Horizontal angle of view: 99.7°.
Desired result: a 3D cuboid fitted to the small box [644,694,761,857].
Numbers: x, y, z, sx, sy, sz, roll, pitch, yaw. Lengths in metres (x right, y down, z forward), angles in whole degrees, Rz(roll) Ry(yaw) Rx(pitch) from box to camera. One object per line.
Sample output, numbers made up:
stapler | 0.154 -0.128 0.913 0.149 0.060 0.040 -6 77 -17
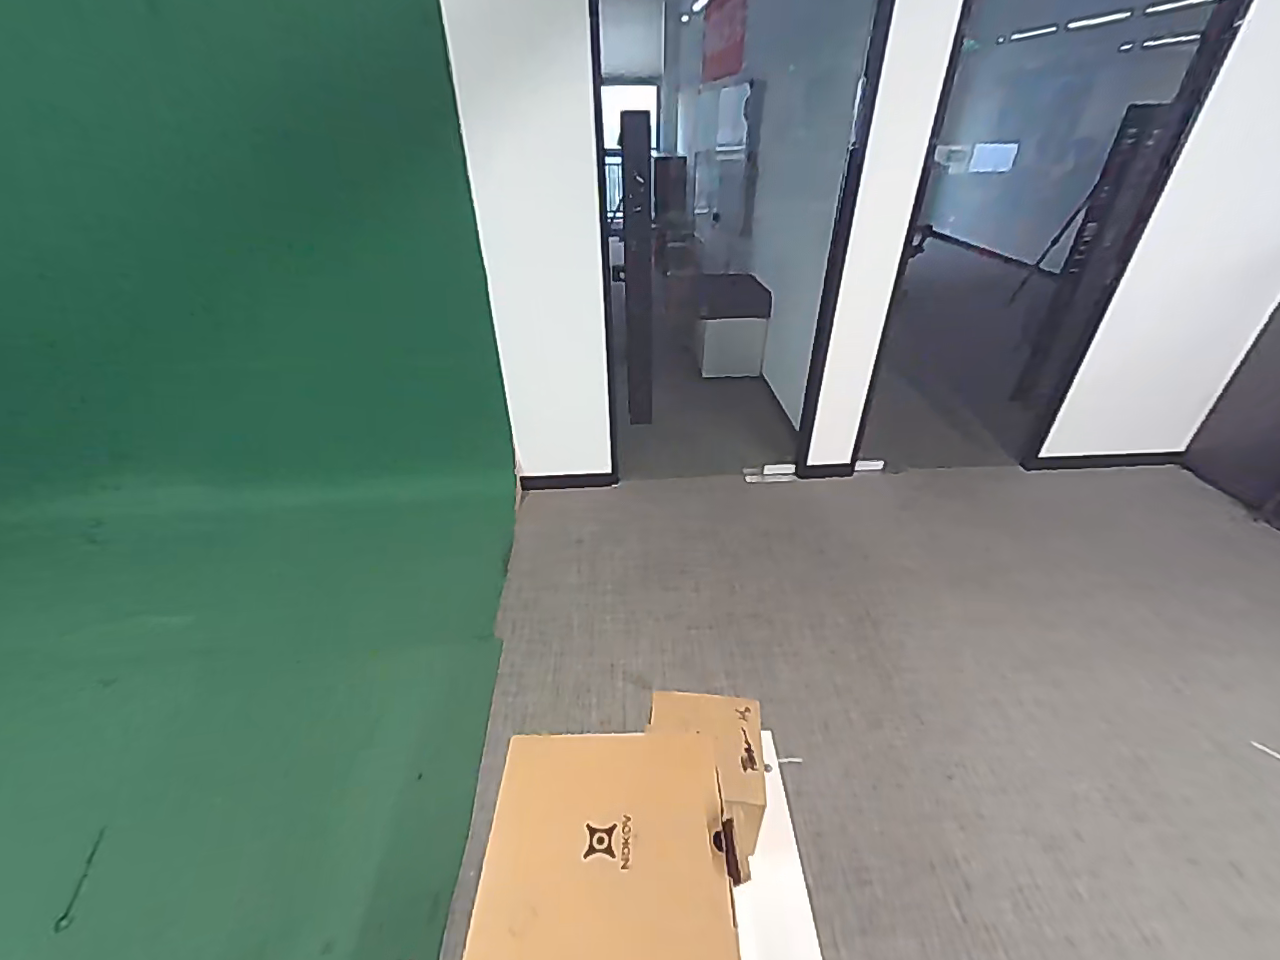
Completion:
small box | 0.093 0.468 0.861 0.179 0.176 0.168 3 34 6

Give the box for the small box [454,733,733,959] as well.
small box | -0.026 0.329 0.435 0.179 0.176 0.168 0 32 0
